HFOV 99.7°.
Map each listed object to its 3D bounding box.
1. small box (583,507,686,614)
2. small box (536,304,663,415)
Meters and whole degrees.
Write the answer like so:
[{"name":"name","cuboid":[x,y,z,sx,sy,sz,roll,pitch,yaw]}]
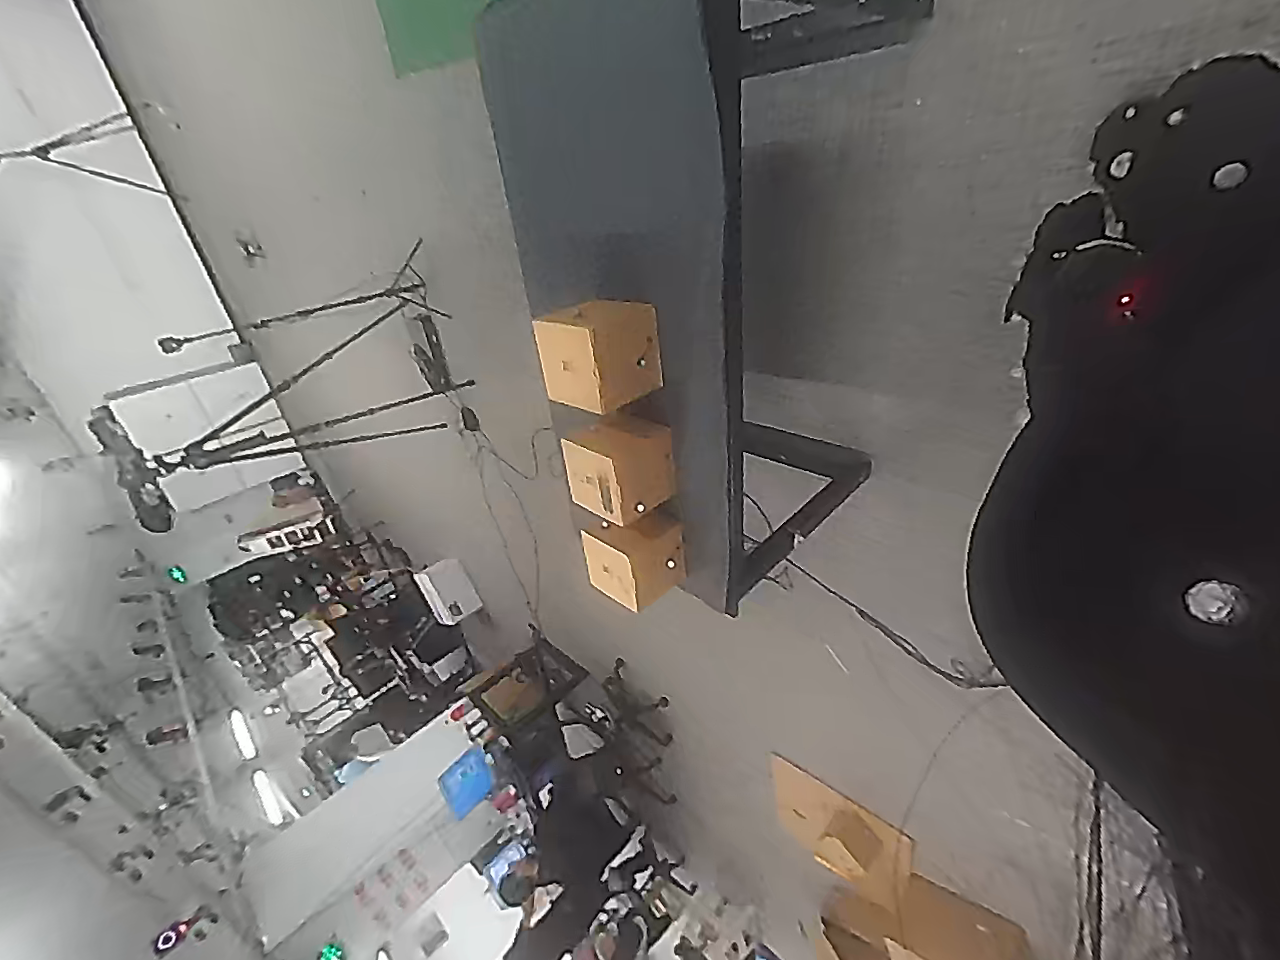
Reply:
[{"name":"small box","cuboid":[-0.010,0.182,1.295,0.179,0.176,0.168,21,129,42]},{"name":"small box","cuboid":[-0.077,-0.247,1.074,0.179,0.176,0.168,20,129,40]}]
